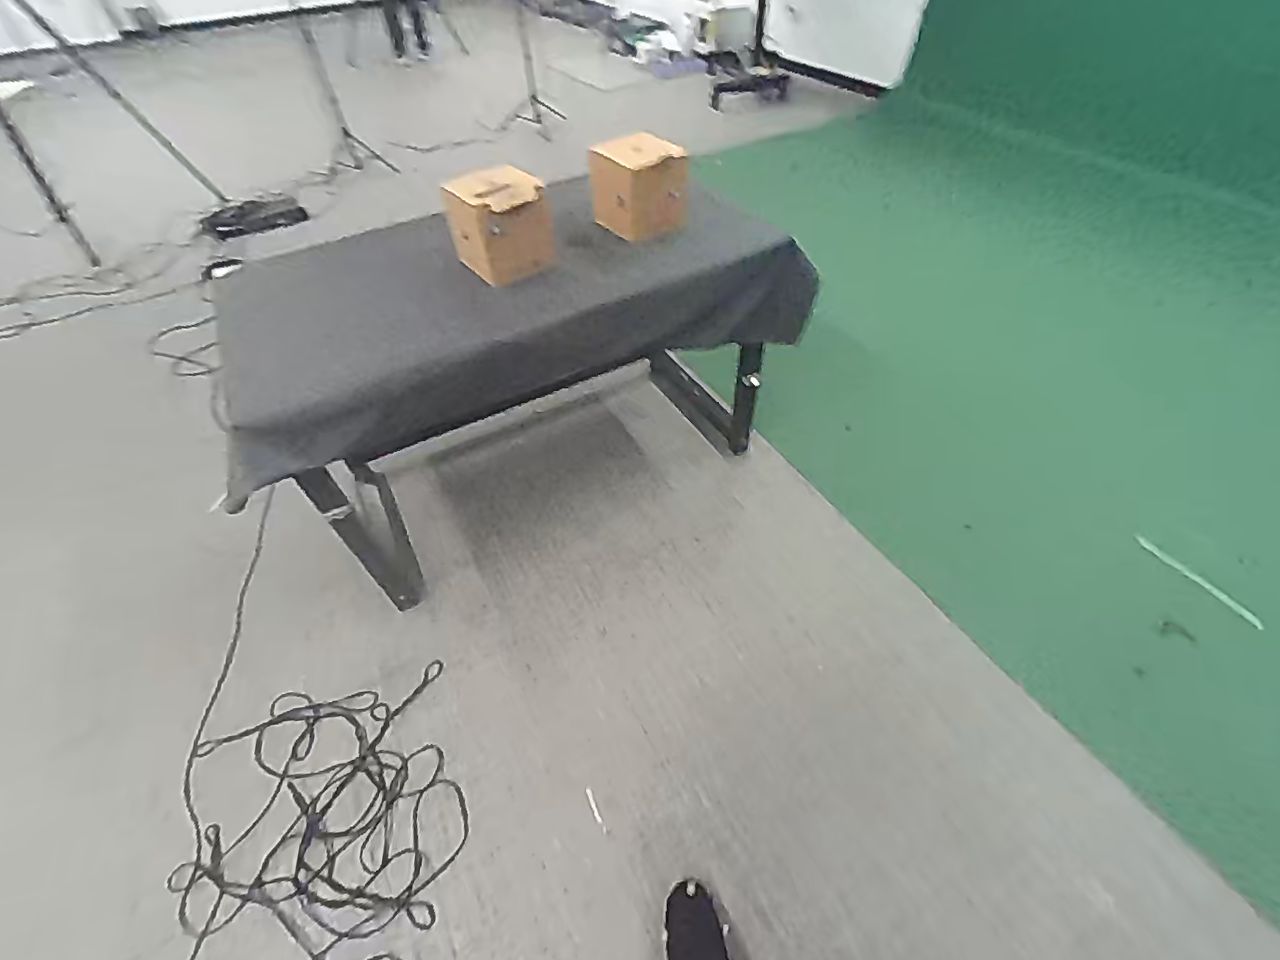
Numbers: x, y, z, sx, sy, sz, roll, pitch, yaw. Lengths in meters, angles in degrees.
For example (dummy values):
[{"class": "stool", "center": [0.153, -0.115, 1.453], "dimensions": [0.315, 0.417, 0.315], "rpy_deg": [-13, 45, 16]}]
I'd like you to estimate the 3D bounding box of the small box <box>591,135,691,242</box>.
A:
[{"class": "small box", "center": [0.005, -0.687, 1.284], "dimensions": [0.168, 0.176, 0.179], "rpy_deg": [-30, 53, -23]}]
